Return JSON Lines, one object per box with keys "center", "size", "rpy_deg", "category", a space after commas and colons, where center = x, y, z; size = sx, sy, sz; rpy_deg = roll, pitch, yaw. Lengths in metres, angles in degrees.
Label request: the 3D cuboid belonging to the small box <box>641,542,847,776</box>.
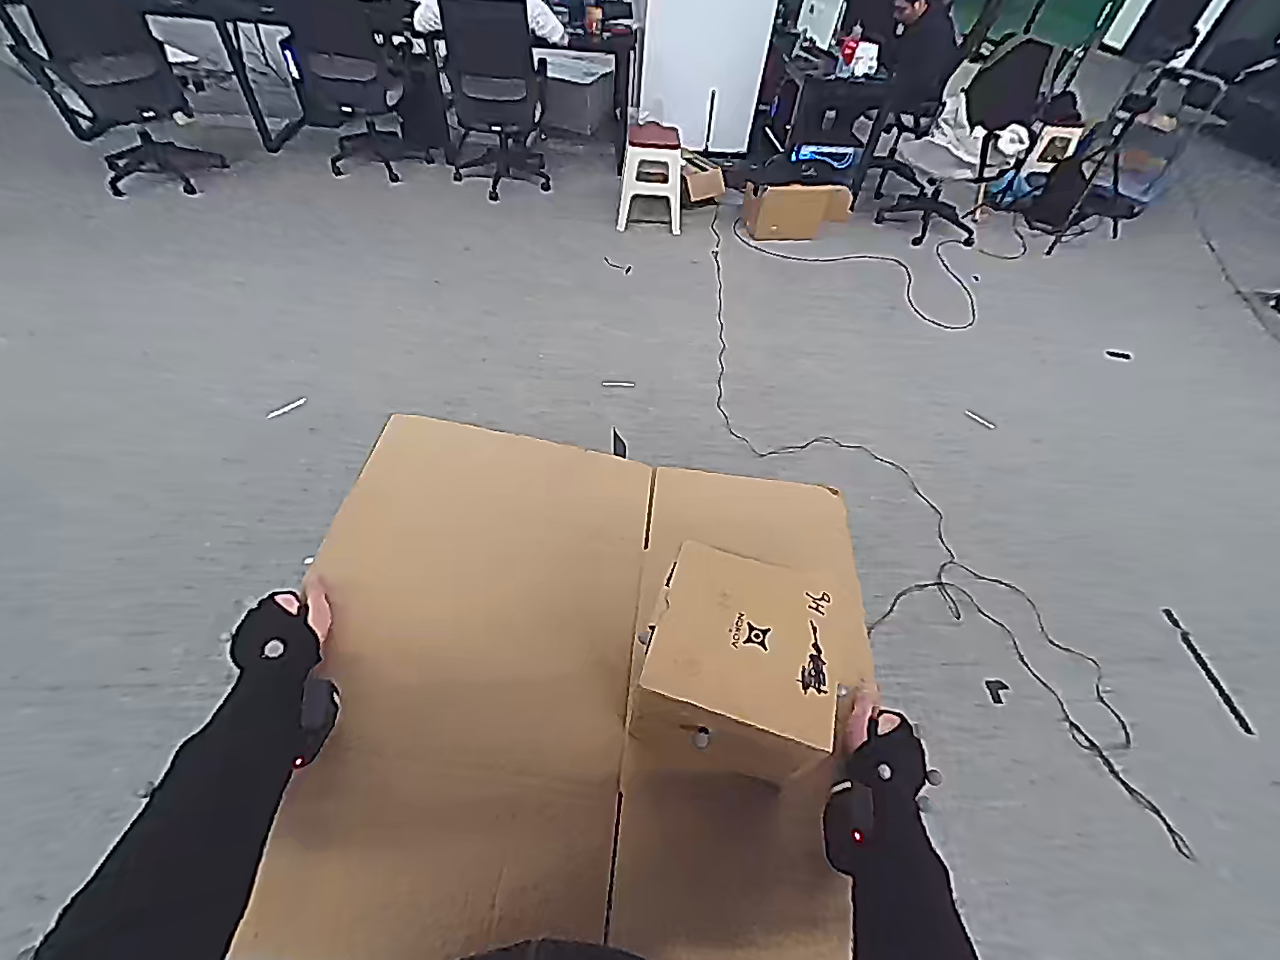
{"center": [0.105, 0.197, 0.586], "size": [0.179, 0.176, 0.168], "rpy_deg": [15, 52, 9], "category": "small box"}
